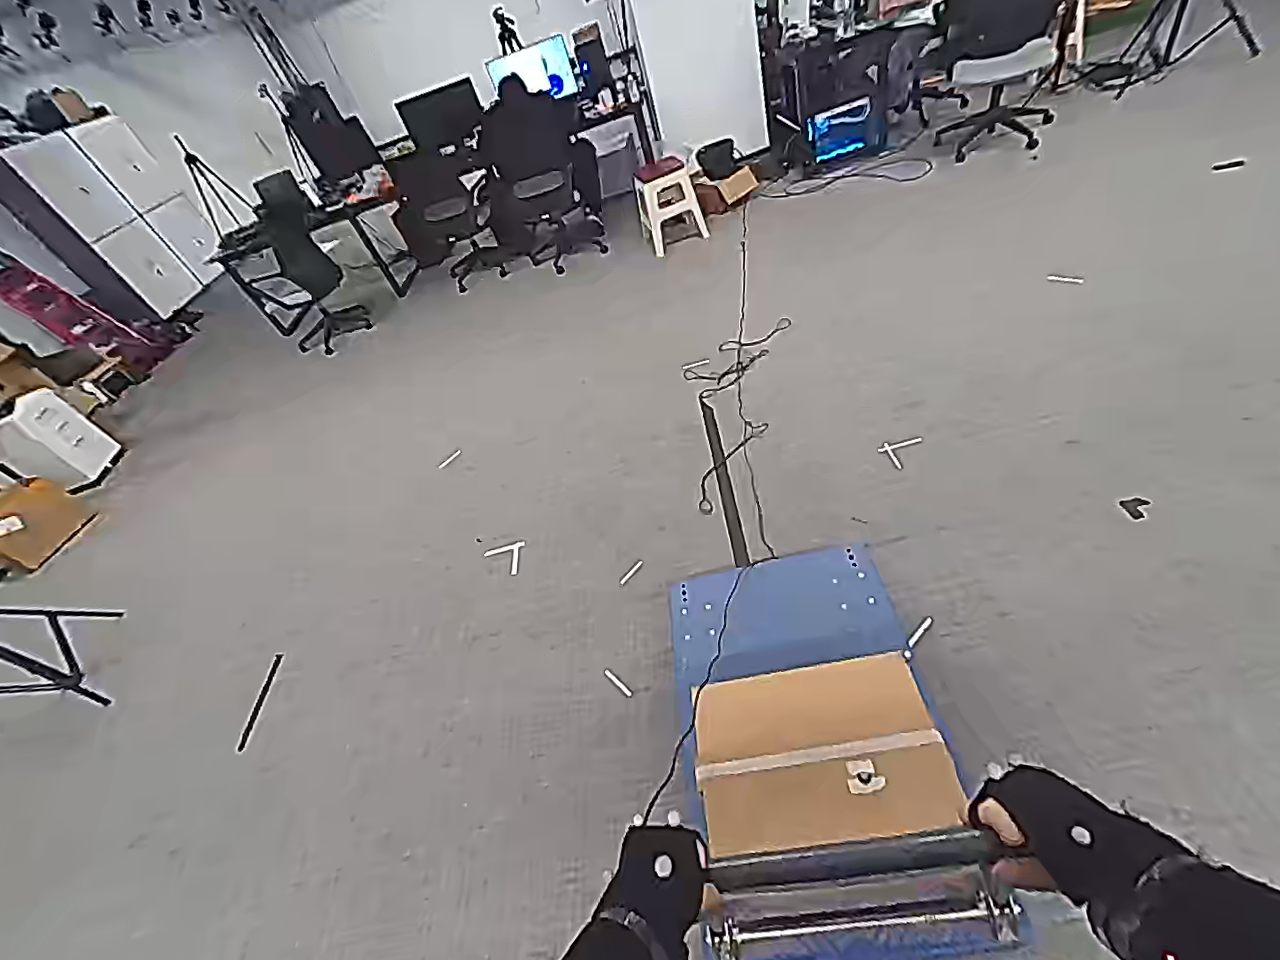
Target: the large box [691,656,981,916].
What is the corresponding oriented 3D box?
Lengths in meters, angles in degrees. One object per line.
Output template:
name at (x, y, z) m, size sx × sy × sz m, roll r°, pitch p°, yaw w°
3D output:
large box at (0.336, 0.579, 1.013) m, size 0.408 × 0.320 × 0.320 m, roll -14°, pitch 43°, yaw 9°
